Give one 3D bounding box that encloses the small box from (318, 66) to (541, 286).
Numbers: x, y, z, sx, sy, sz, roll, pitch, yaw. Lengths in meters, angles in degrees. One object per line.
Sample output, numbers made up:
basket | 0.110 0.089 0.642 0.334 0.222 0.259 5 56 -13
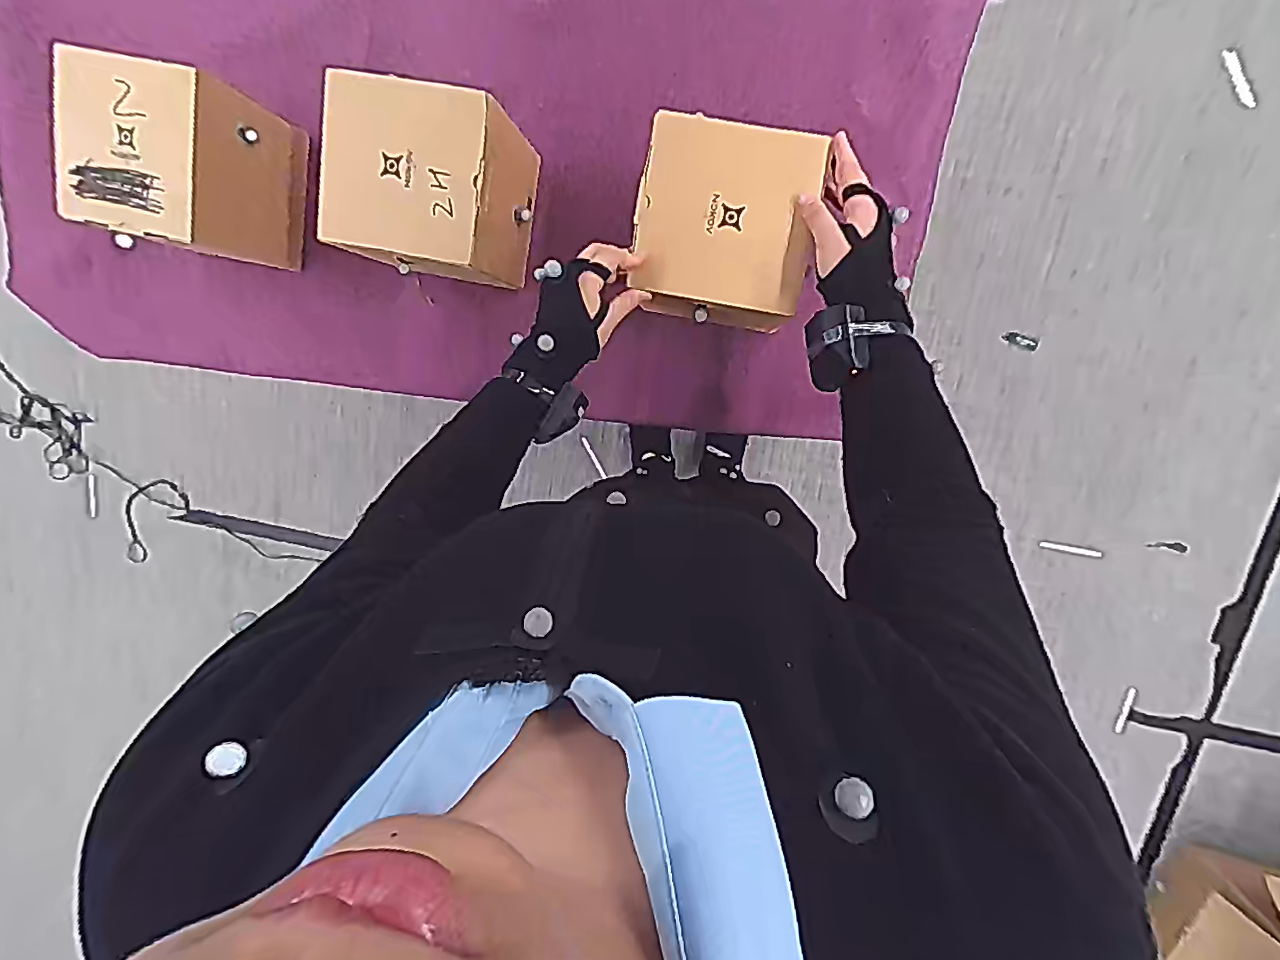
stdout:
small box | -0.232 -0.333 0.627 0.179 0.176 0.168 12 102 4
